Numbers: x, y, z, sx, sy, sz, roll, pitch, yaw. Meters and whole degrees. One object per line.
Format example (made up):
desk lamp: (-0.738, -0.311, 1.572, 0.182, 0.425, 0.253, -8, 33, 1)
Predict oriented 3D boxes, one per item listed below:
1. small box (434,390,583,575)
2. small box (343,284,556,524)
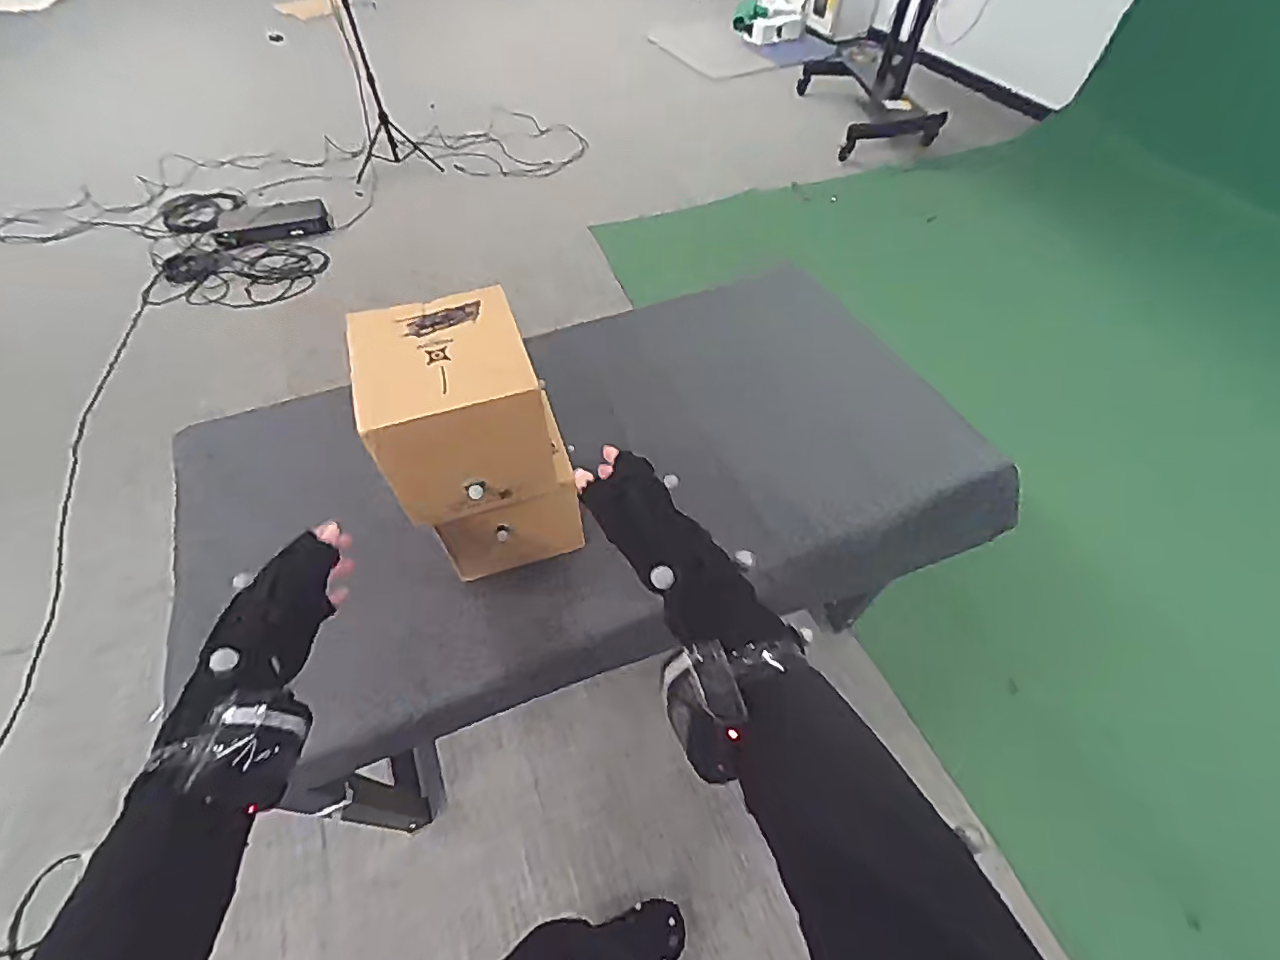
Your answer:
small box: (-0.188, 0.007, 0.737, 0.179, 0.176, 0.168, -16, 56, -11)
small box: (-0.203, -0.083, 0.598, 0.168, 0.176, 0.179, -20, 54, -13)
